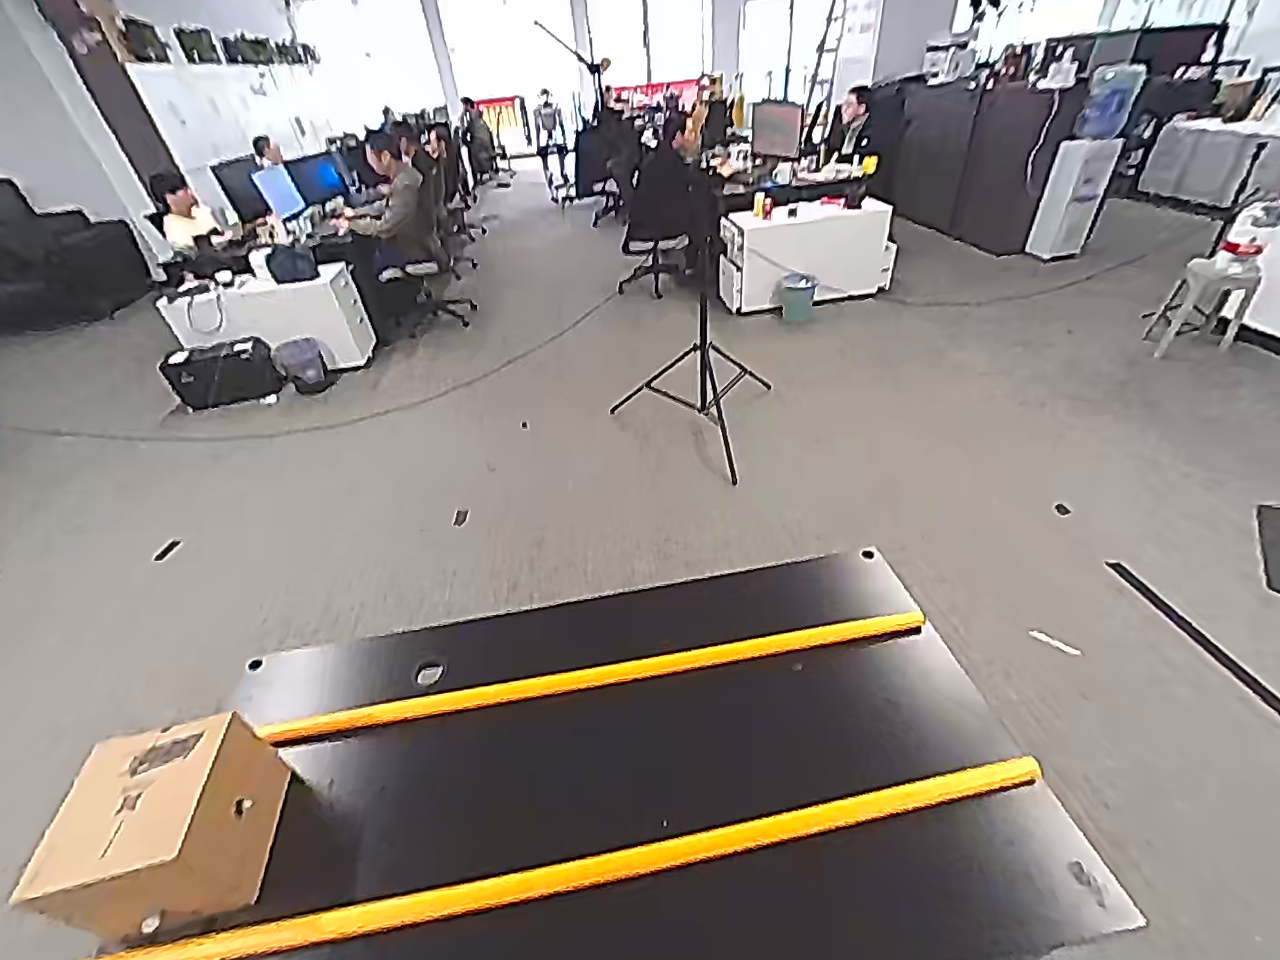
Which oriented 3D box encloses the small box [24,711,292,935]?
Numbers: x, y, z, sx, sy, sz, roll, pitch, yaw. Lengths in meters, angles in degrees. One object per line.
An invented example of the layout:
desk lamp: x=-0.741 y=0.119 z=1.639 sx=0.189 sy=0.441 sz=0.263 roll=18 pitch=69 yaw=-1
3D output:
small box: x=-0.583 y=0.435 z=0.692 sx=0.168 sy=0.176 sz=0.179 roll=-12 pitch=39 yaw=-7
